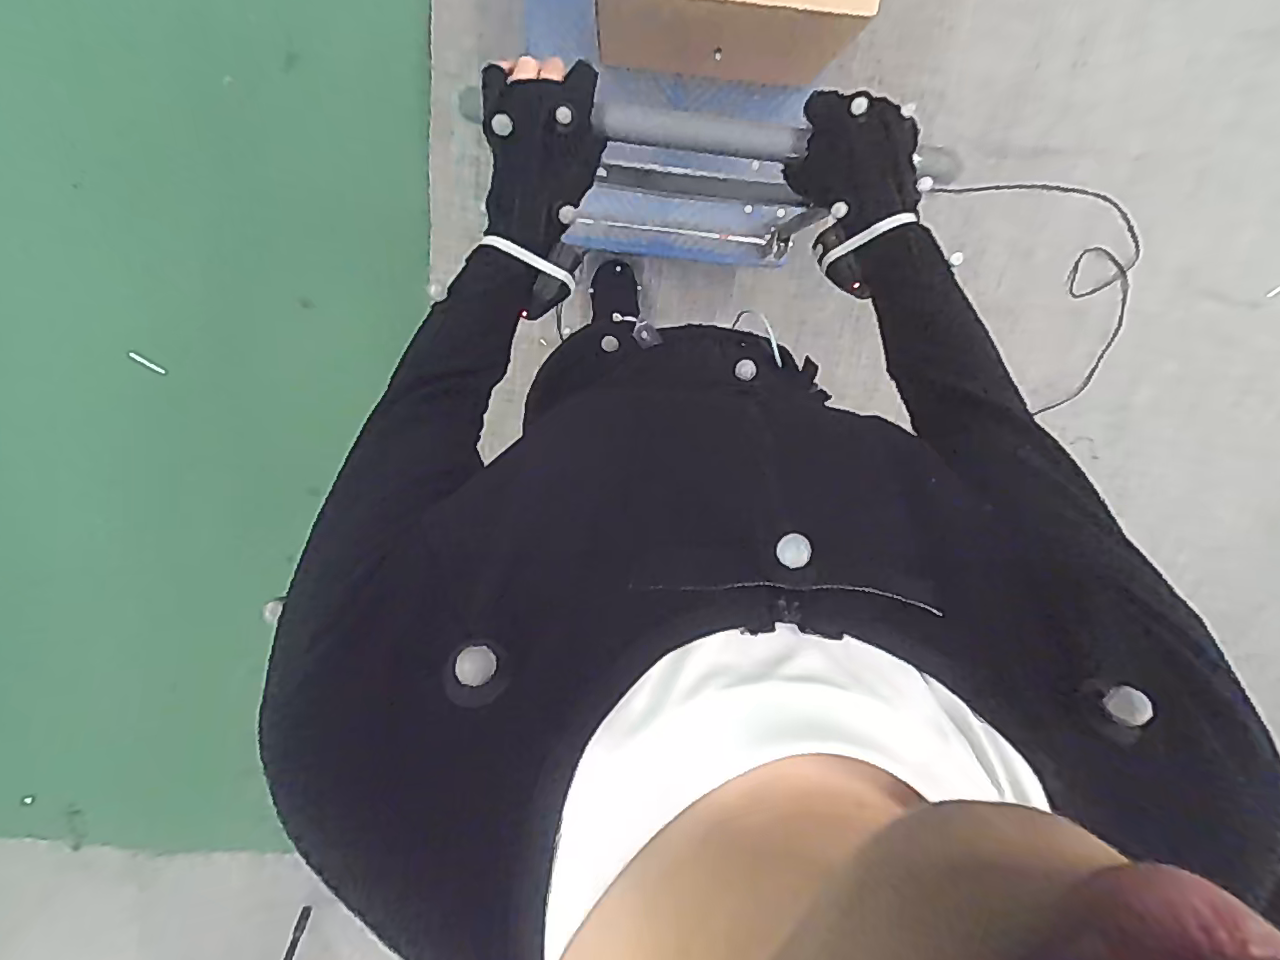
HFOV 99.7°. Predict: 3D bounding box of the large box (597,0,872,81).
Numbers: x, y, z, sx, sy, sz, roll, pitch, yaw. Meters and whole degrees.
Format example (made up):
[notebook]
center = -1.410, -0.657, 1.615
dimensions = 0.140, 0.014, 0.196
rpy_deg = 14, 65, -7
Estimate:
[large box]
center = 0.145, -0.876, 0.861
dimensions = 0.408, 0.320, 0.320
rpy_deg = 4, 110, -2
